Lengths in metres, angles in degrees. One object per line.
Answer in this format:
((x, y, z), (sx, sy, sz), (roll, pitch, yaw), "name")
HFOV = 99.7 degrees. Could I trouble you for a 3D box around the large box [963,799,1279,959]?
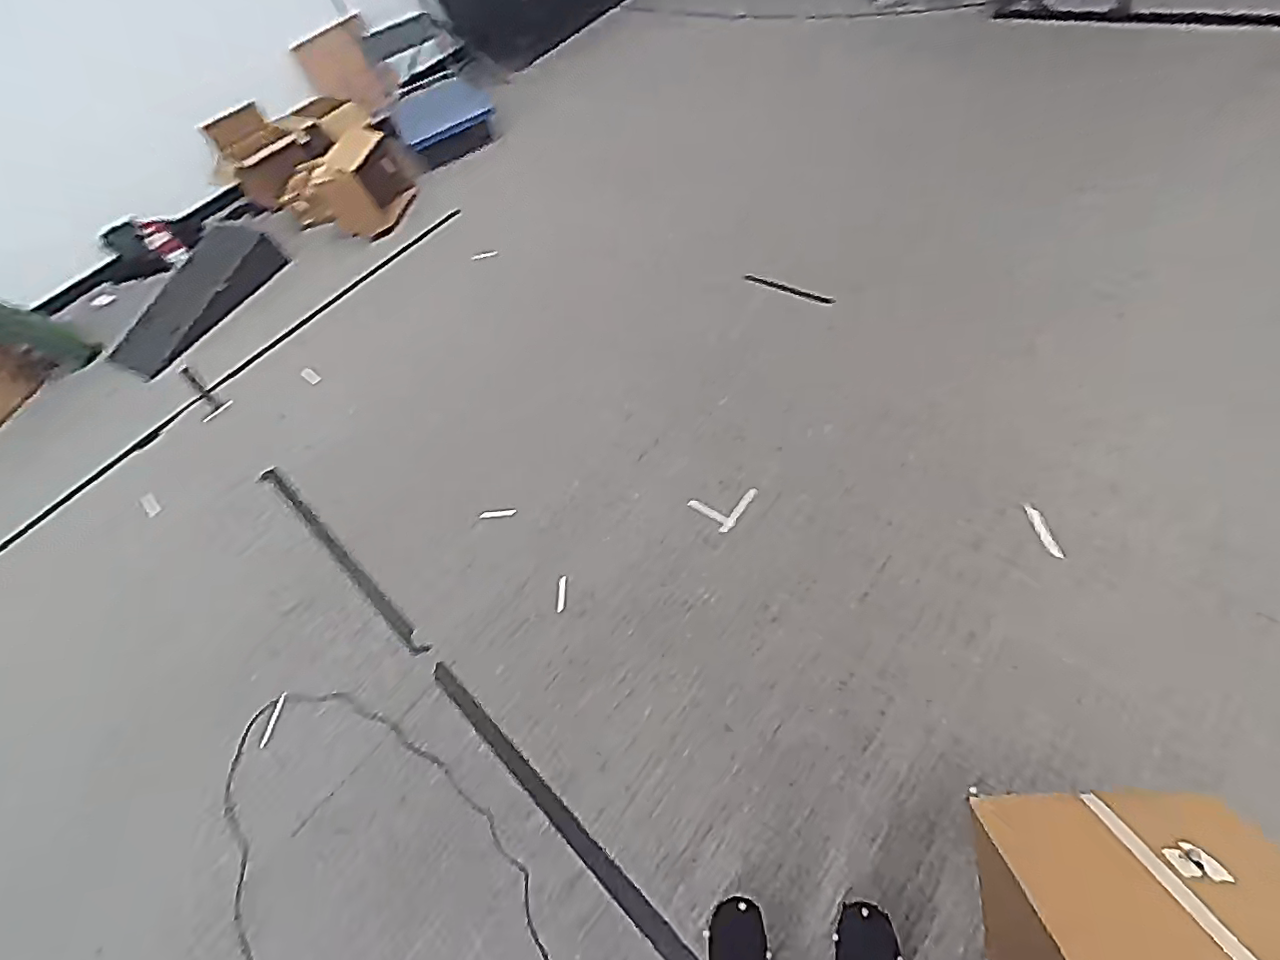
((0.626, 0.631, 0.600), (0.320, 0.408, 0.320), (-7, 91, 11), "large box")
